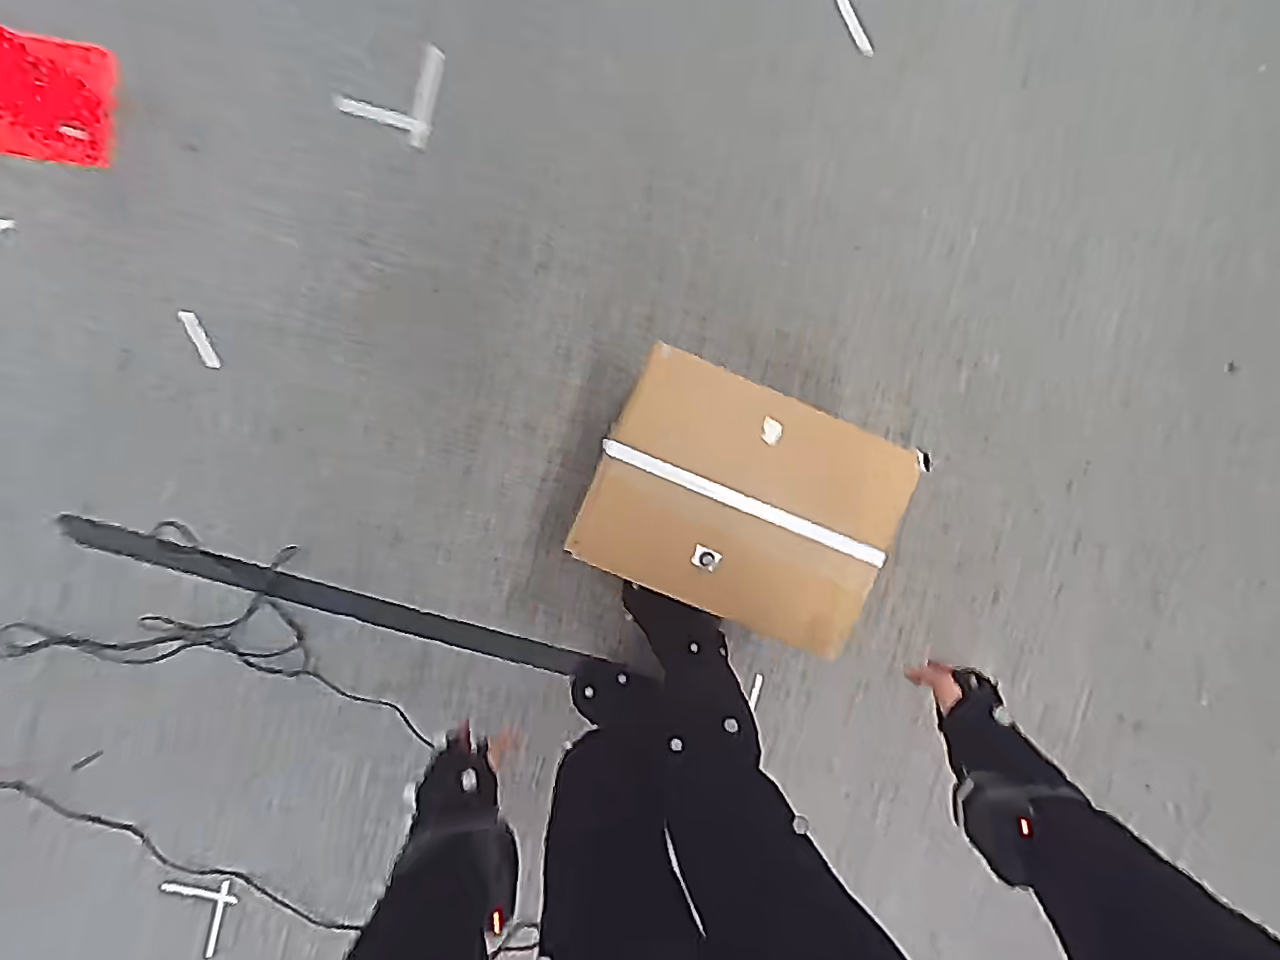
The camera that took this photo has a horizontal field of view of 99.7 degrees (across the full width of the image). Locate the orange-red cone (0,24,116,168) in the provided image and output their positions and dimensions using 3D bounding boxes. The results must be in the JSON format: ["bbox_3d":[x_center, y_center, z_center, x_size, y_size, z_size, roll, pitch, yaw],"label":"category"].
[{"bbox_3d":[-0.978,-0.629,0.735,0.198,0.360,0.199,7,91,-5],"label":"orange-red cone"}]
